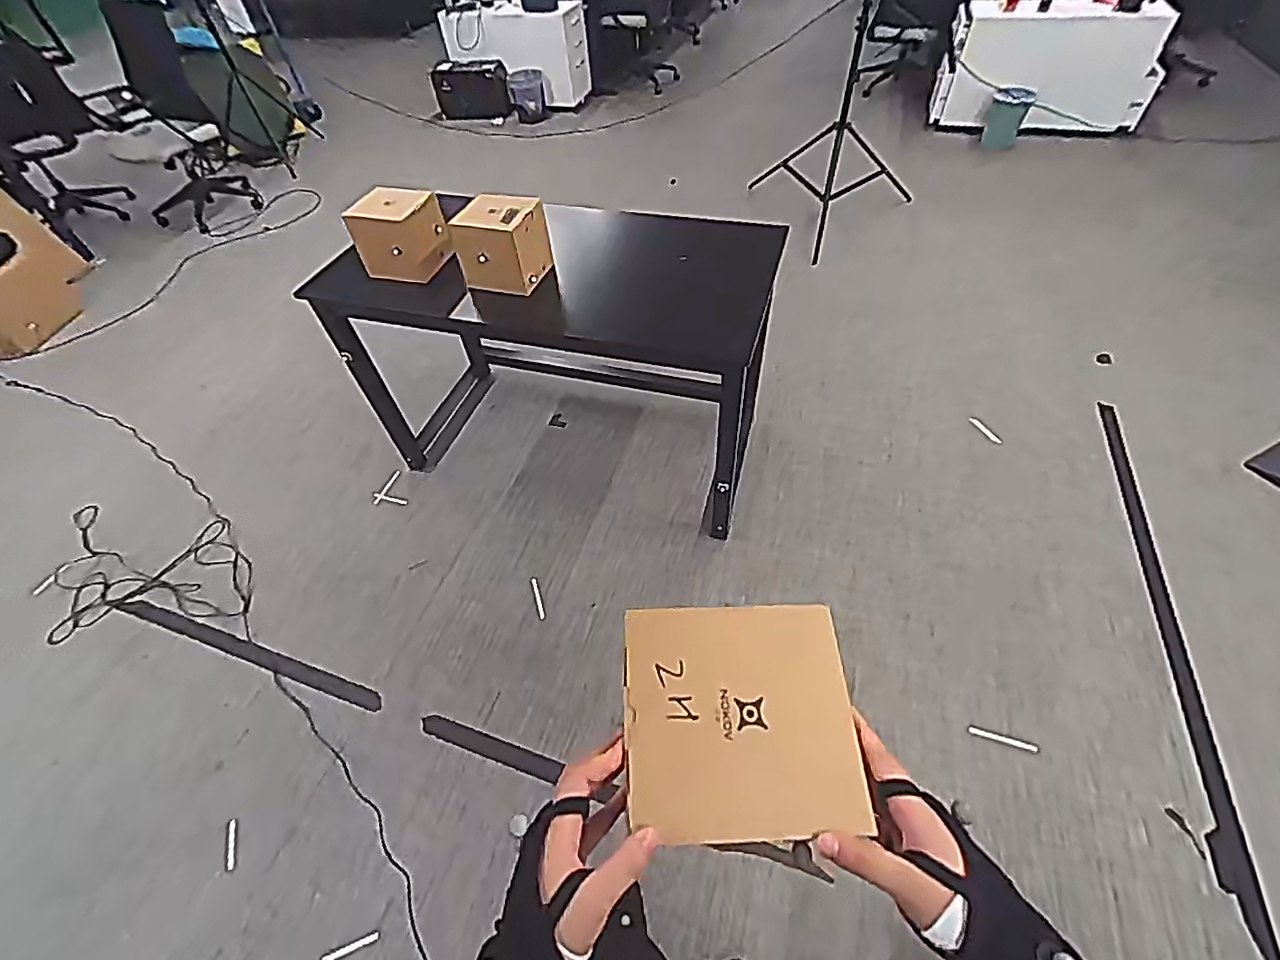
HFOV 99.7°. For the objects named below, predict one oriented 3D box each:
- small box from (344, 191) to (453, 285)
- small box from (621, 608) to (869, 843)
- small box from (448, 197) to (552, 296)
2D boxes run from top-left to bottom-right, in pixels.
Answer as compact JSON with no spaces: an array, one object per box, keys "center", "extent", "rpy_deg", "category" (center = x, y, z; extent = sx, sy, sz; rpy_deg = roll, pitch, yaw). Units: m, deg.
[{"center":[-0.624,-0.634,1.423],"extent":[0.179,0.176,0.168],"rpy_deg":[9,51,12],"category":"small box"},{"center":[0.072,0.219,0.484],"extent":[0.179,0.176,0.168],"rpy_deg":[-1,59,-1],"category":"small box"},{"center":[-0.340,-0.583,1.359],"extent":[0.179,0.176,0.168],"rpy_deg":[12,53,15],"category":"small box"}]
